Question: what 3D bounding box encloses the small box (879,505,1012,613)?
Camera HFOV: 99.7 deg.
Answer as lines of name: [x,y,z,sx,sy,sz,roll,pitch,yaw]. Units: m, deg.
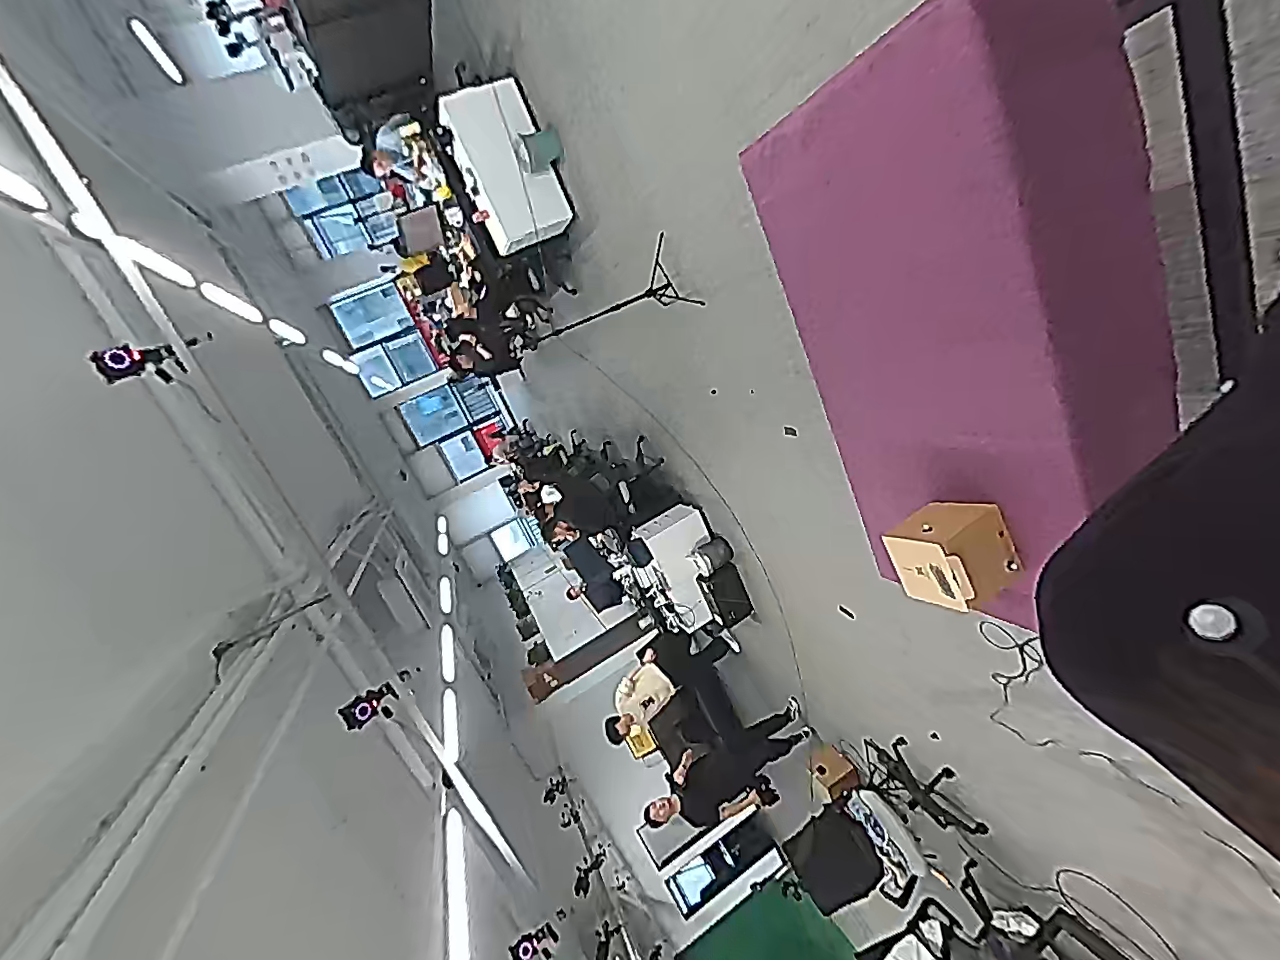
small box: [0.679,0.165,1.197,0.168,0.176,0.179,64,165,-7]
